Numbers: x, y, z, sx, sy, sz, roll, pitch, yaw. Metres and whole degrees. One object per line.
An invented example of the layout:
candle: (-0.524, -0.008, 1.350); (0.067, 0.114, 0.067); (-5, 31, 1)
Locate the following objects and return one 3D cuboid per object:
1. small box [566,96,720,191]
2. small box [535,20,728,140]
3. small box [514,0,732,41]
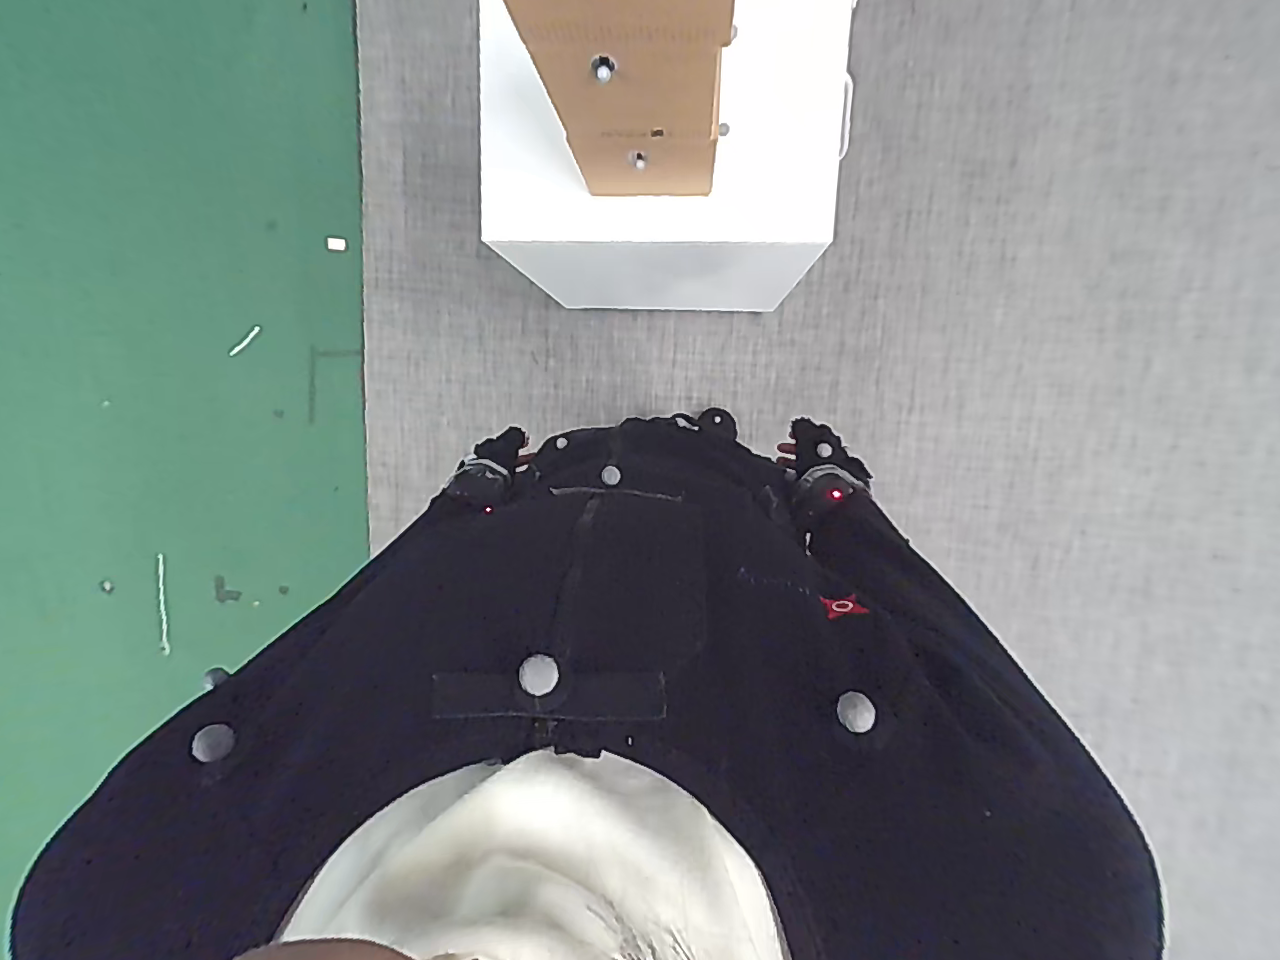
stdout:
small box: (0.011, -0.482, 0.683); (0.179, 0.176, 0.168); (2, 98, 4)
small box: (-0.002, -0.463, 0.524); (0.168, 0.176, 0.179); (1, 99, 5)
small box: (-0.016, -0.435, 0.360); (0.179, 0.176, 0.168); (5, 99, 4)
